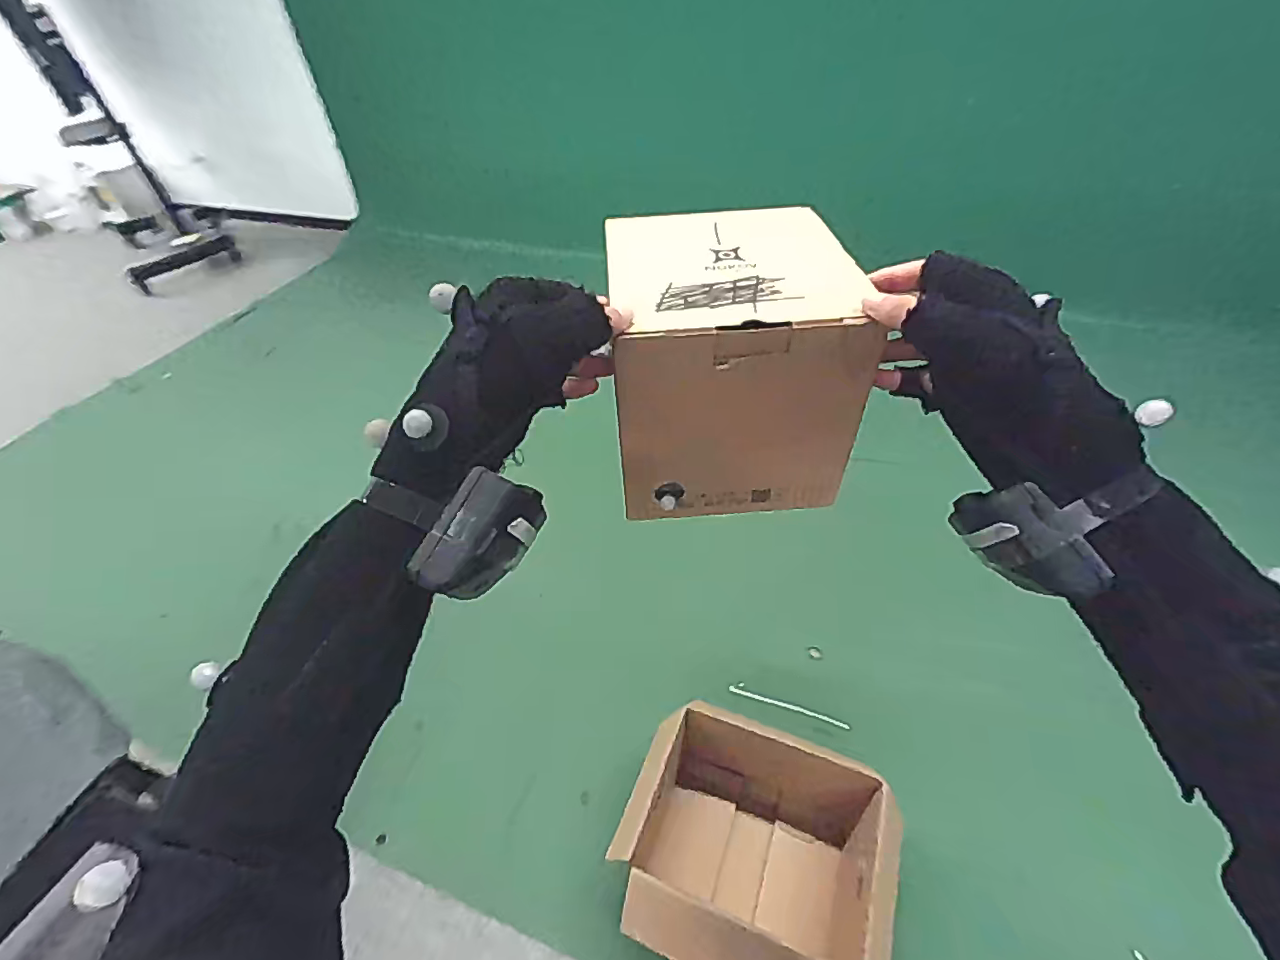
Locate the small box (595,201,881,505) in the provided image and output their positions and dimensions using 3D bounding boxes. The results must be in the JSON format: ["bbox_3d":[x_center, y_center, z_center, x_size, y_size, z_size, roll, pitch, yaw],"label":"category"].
[{"bbox_3d":[0.056,-0.093,0.419,0.168,0.176,0.179,-4,45,-2],"label":"small box"}]
